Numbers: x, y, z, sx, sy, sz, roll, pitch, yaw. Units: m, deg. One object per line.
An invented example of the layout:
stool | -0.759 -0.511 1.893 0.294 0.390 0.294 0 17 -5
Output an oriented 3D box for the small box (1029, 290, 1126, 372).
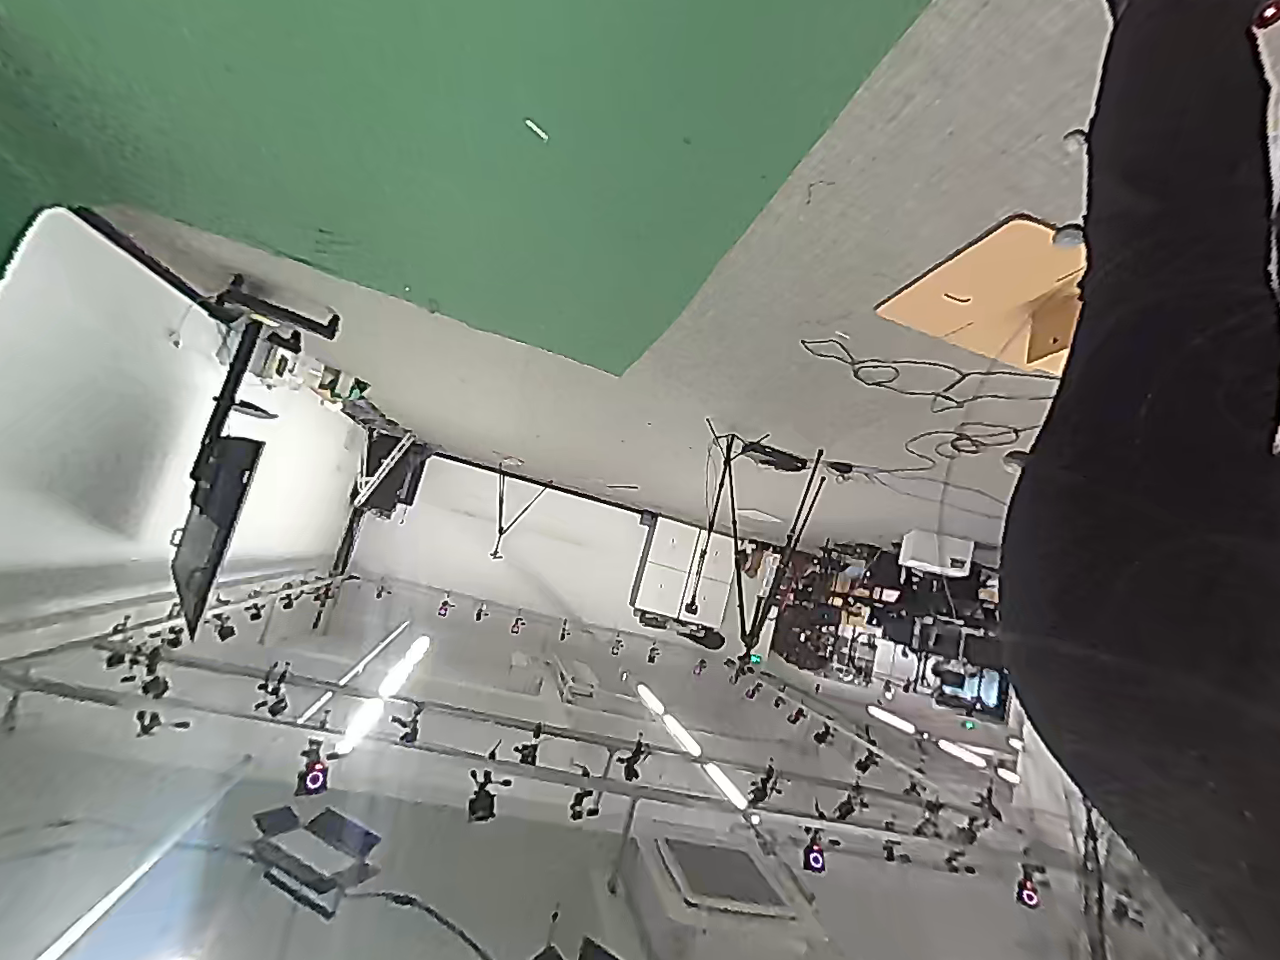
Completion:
small box | 1.348 -0.459 1.667 0.168 0.176 0.179 14 171 -5
